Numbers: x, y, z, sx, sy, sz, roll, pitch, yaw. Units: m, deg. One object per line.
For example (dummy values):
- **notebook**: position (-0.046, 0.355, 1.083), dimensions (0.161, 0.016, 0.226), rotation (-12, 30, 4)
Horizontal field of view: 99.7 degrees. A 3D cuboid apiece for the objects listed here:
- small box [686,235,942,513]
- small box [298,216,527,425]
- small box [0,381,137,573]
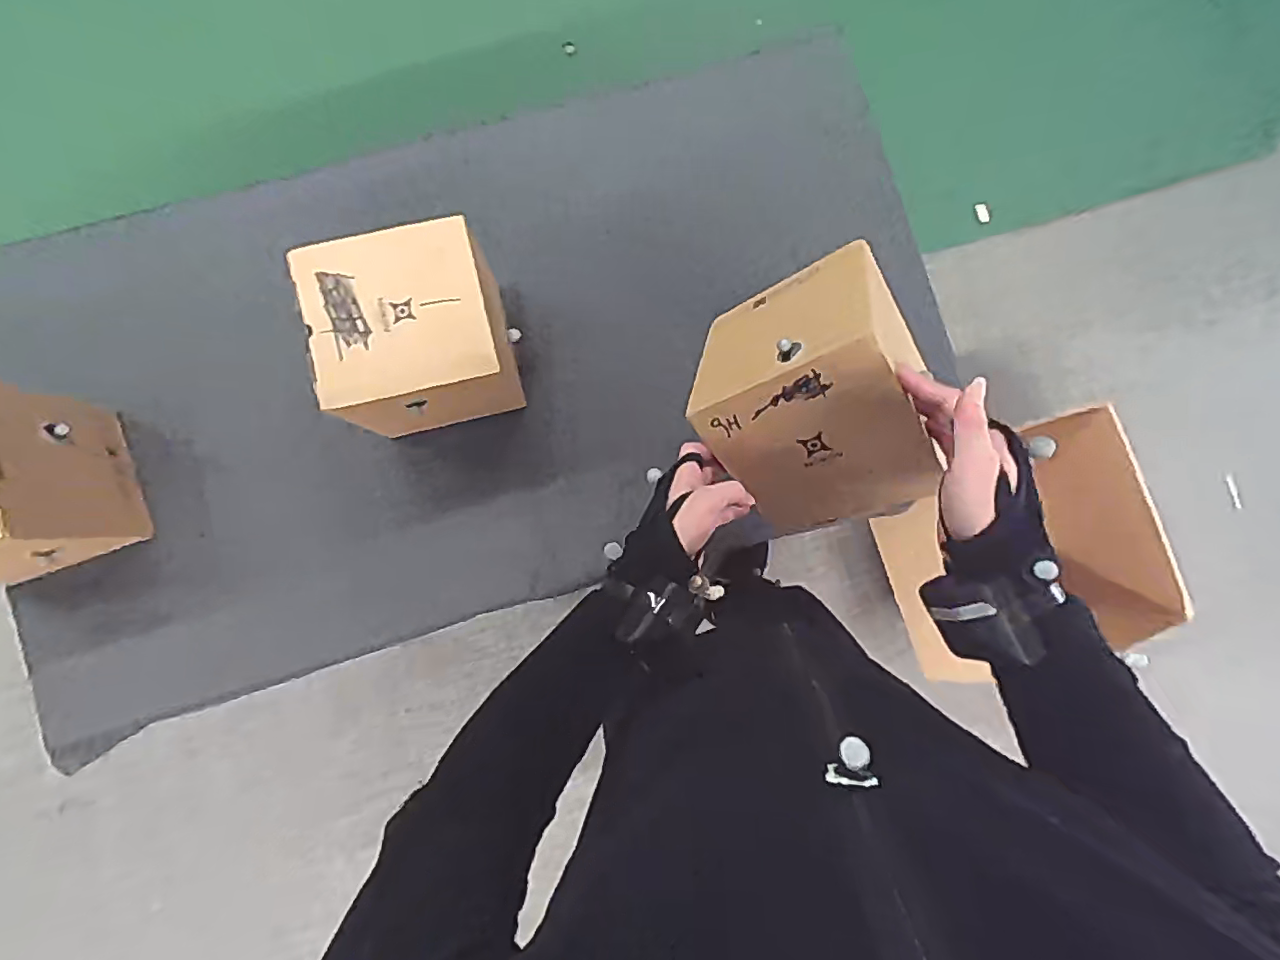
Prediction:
- **small box**: position (0.175, -0.100, 0.534), dimensions (0.179, 0.168, 0.176), rotation (46, 42, -26)
- **small box**: position (-0.238, -0.163, 0.606), dimensions (0.179, 0.176, 0.168), rotation (-10, 89, -3)
- **small box**: position (-0.683, 0.001, 0.562), dimensions (0.179, 0.176, 0.168), rotation (-20, 87, -3)
